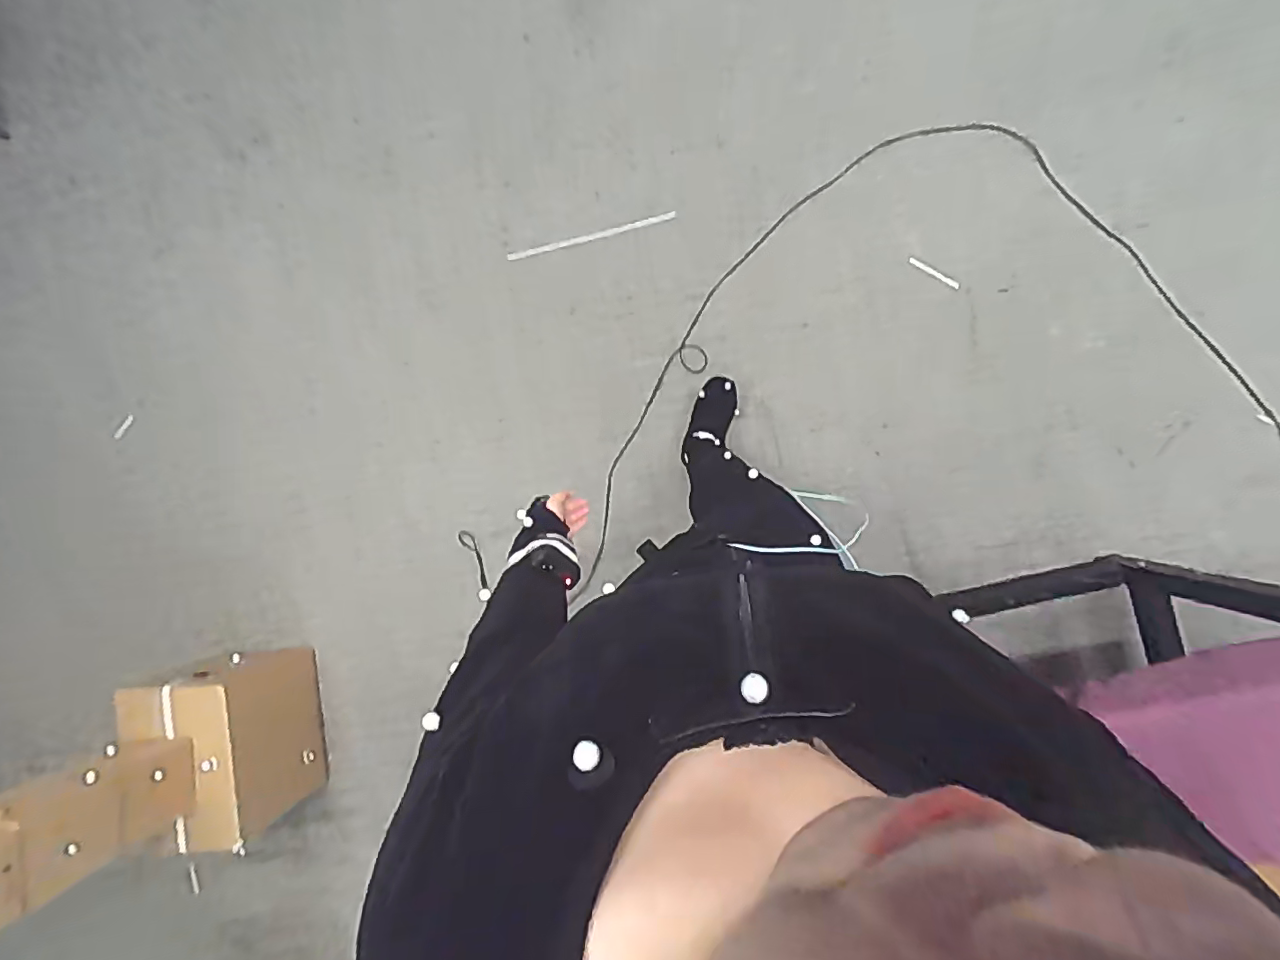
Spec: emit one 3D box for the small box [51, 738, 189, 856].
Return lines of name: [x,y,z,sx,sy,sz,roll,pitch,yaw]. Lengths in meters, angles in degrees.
small box: [-1.181,0.714,1.237,0.168,0.176,0.179,-2,91,9]

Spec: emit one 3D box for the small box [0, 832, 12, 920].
small box: [-1.228,0.717,0.912,0.179,0.176,0.168,-2,90,8]

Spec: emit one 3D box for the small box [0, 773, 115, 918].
small box: [-1.201,0.713,1.074,0.168,0.176,0.179,-1,91,9]
